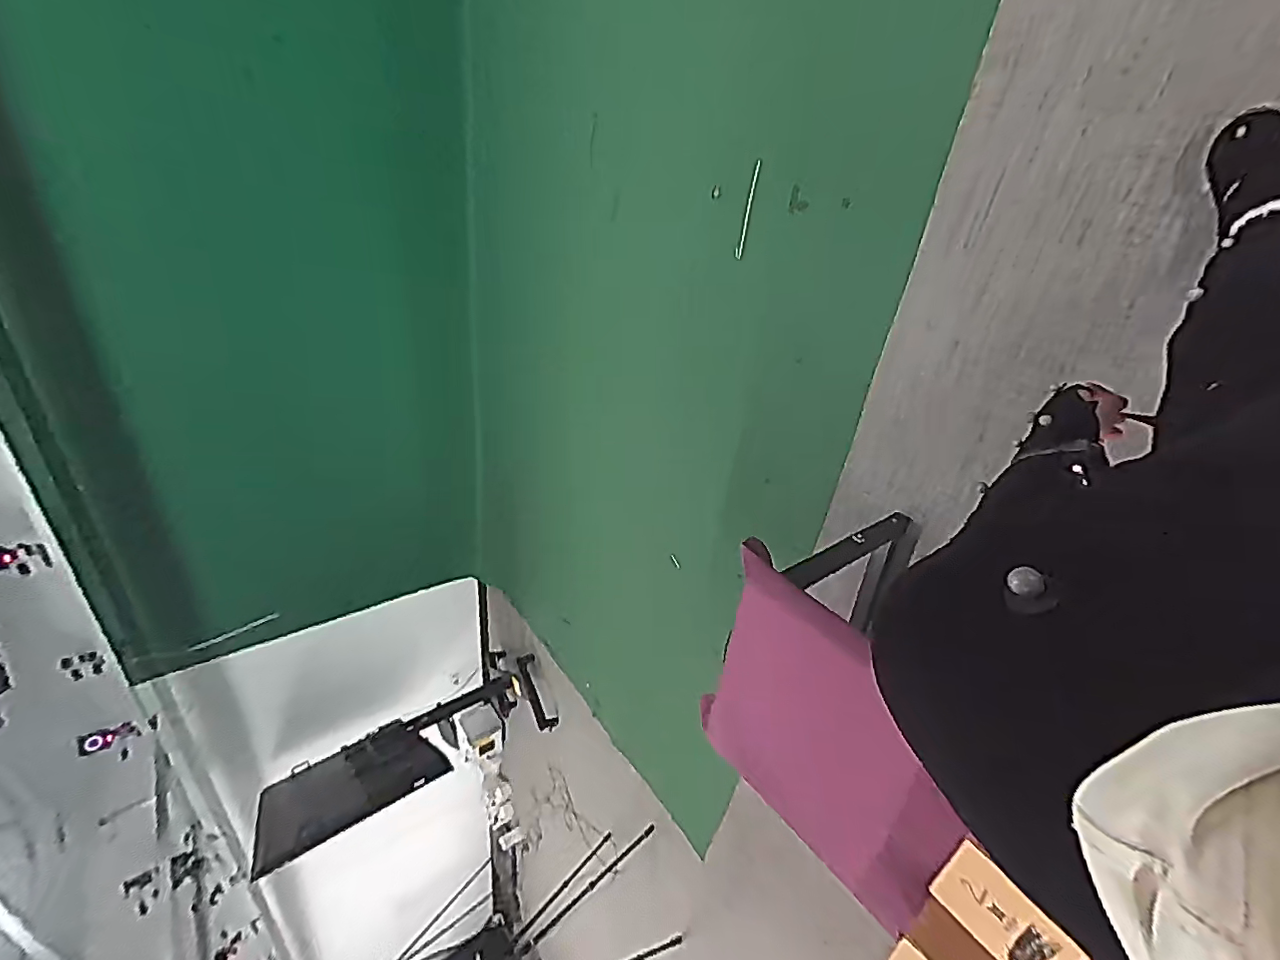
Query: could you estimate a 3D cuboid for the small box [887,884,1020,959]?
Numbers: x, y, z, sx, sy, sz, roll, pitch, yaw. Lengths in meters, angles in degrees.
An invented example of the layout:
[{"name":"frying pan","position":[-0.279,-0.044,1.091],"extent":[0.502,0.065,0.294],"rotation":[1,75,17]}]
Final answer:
[{"name":"small box","position":[0.573,0.907,0.998],"extent":[0.168,0.176,0.179],"rotation":[34,128,42]}]
